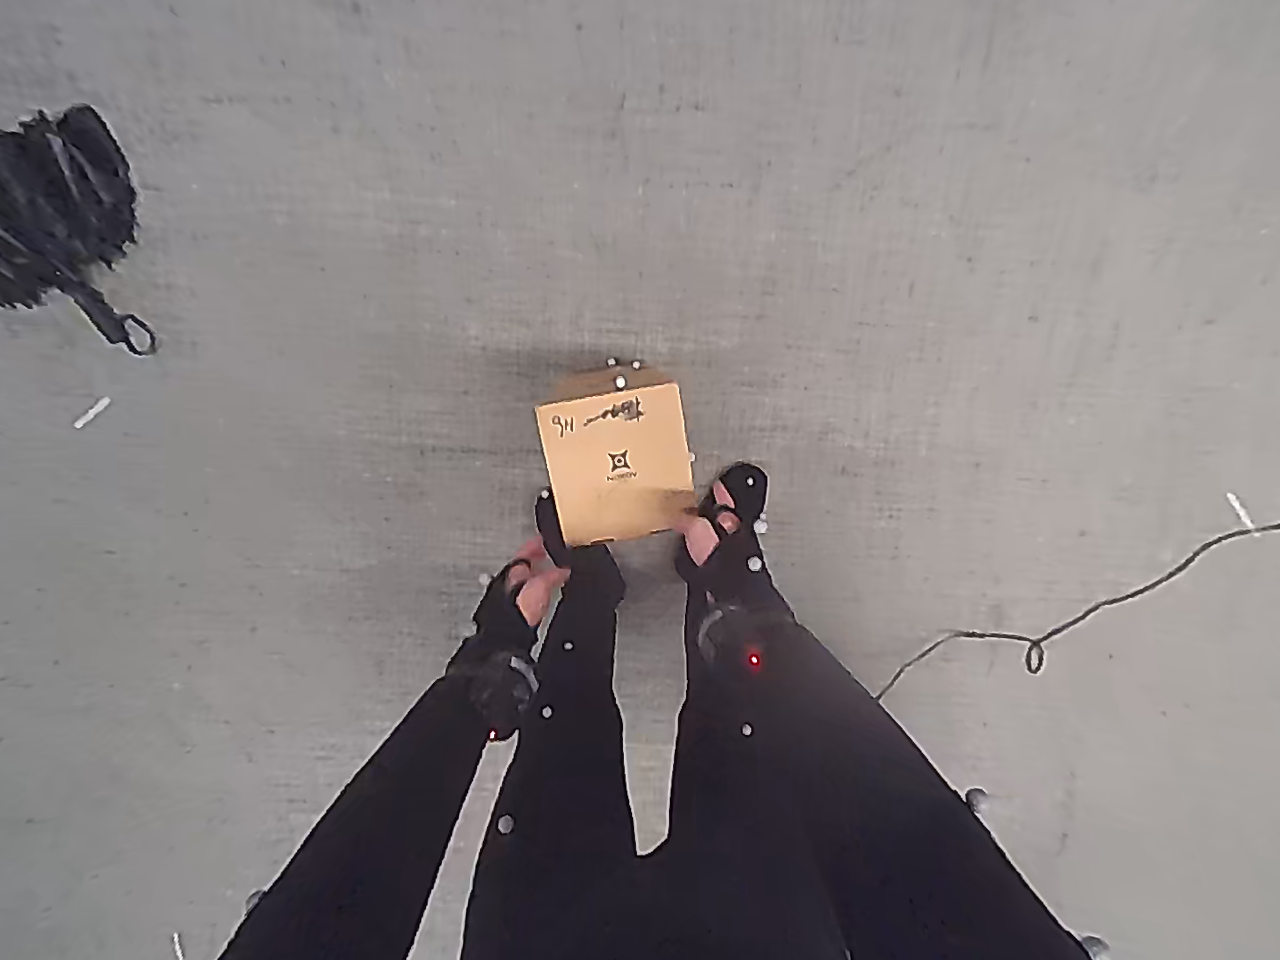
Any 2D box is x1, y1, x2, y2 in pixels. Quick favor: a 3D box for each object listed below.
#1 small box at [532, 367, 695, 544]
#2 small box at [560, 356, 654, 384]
[{"bbox_3d":[-0.027,-0.040,0.698,0.168,0.176,0.179,-10,106,2],"label":"small box"},{"bbox_3d":[-0.043,-0.130,1.013,0.168,0.176,0.179,-11,104,2],"label":"small box"}]
